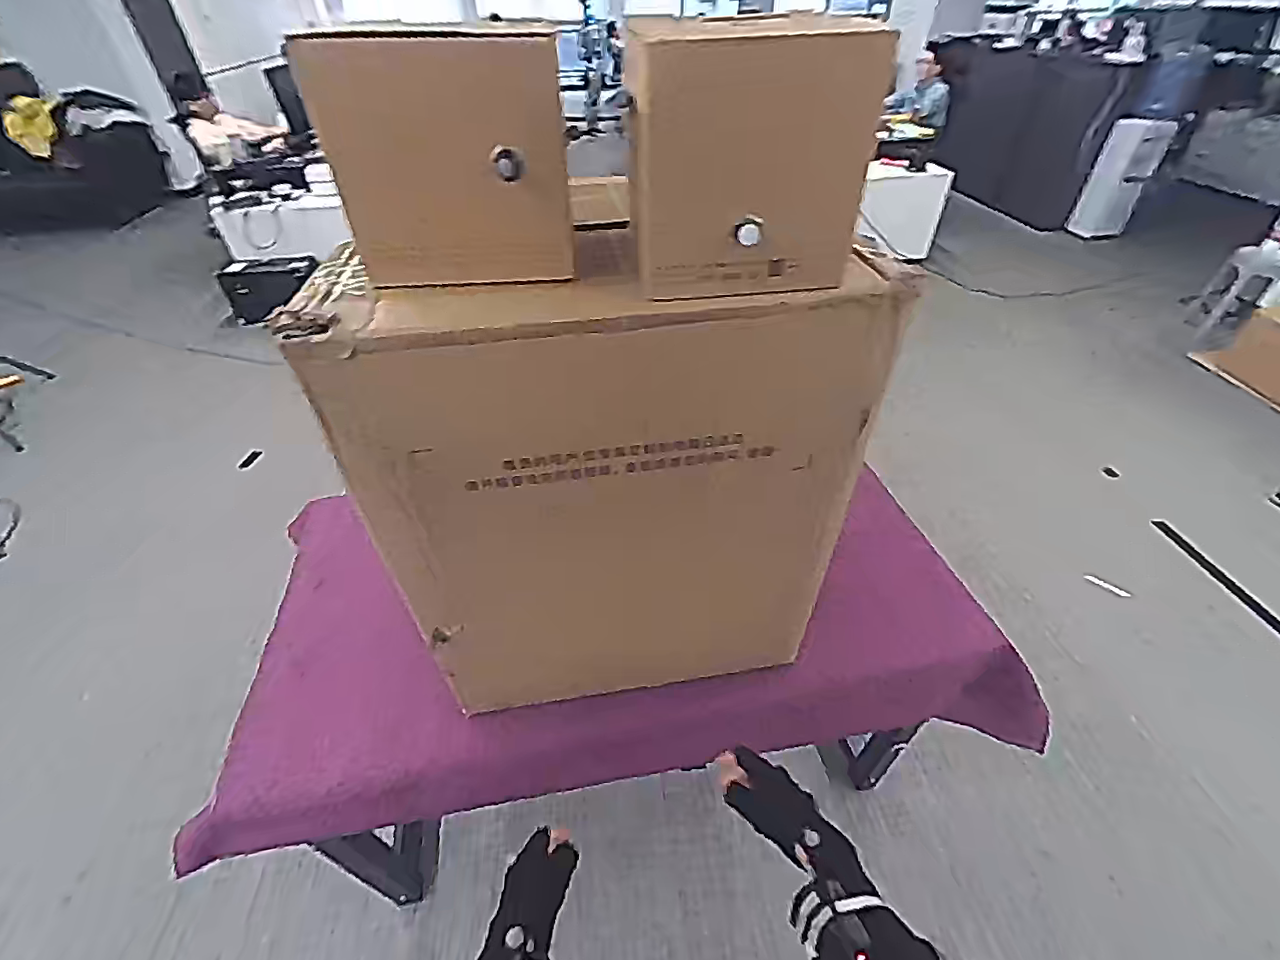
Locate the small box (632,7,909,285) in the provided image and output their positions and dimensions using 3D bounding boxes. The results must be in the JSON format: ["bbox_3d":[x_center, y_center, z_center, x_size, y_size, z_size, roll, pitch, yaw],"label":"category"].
[{"bbox_3d":[0.081,-0.277,0.447,0.168,0.176,0.179,-5,43,-3],"label":"small box"}]

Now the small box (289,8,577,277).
[{"bbox_3d":[-0.145,-0.286,0.460,0.179,0.176,0.168,-5,41,-5],"label":"small box"}]
